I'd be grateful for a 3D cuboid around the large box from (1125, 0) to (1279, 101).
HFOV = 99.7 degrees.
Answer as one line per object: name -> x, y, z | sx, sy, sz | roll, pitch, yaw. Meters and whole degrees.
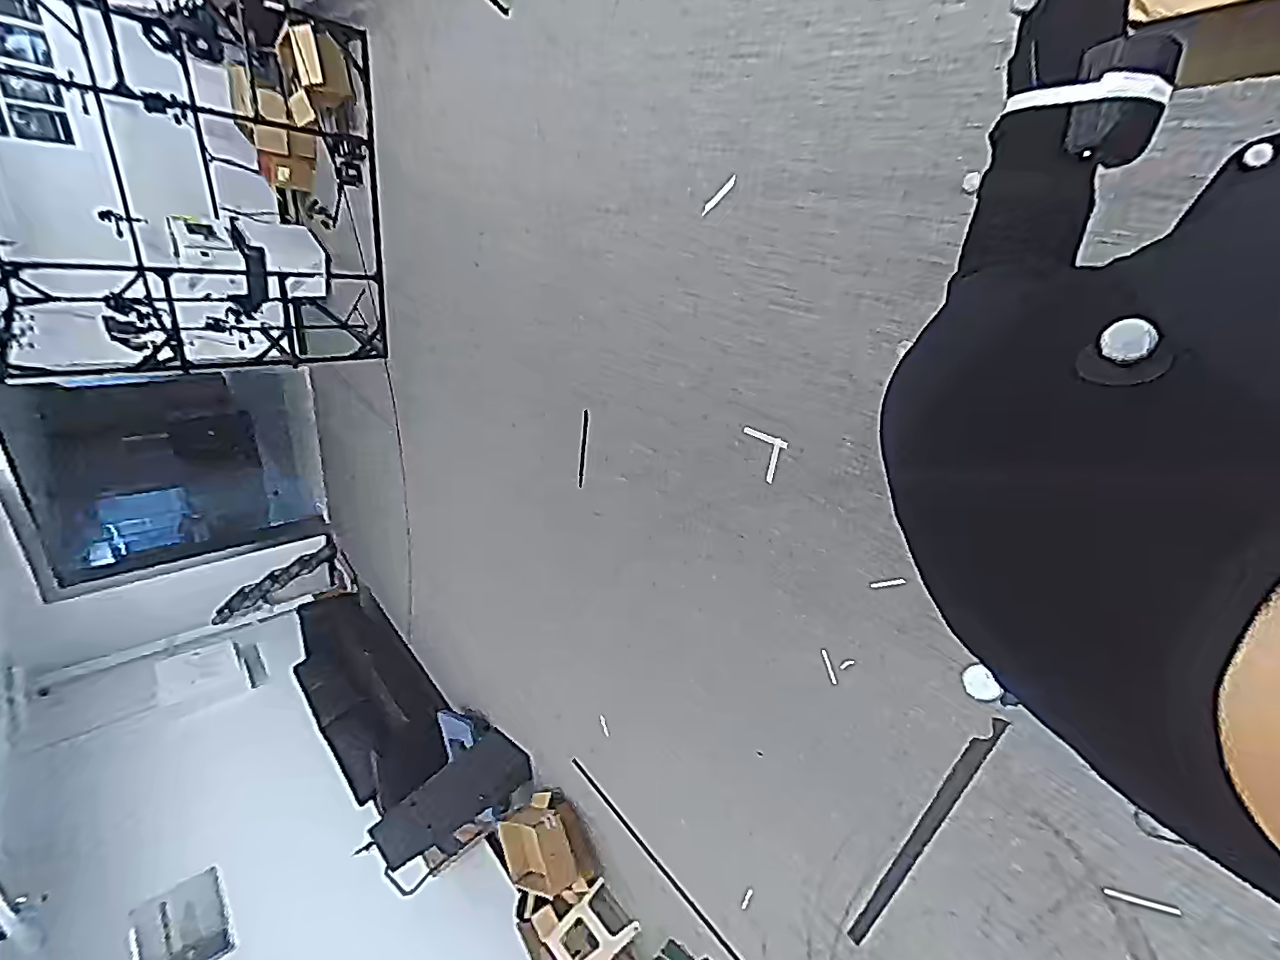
large box -> 0.550, -0.425, 0.262 | 0.408, 0.320, 0.320 | 20, 123, 41
